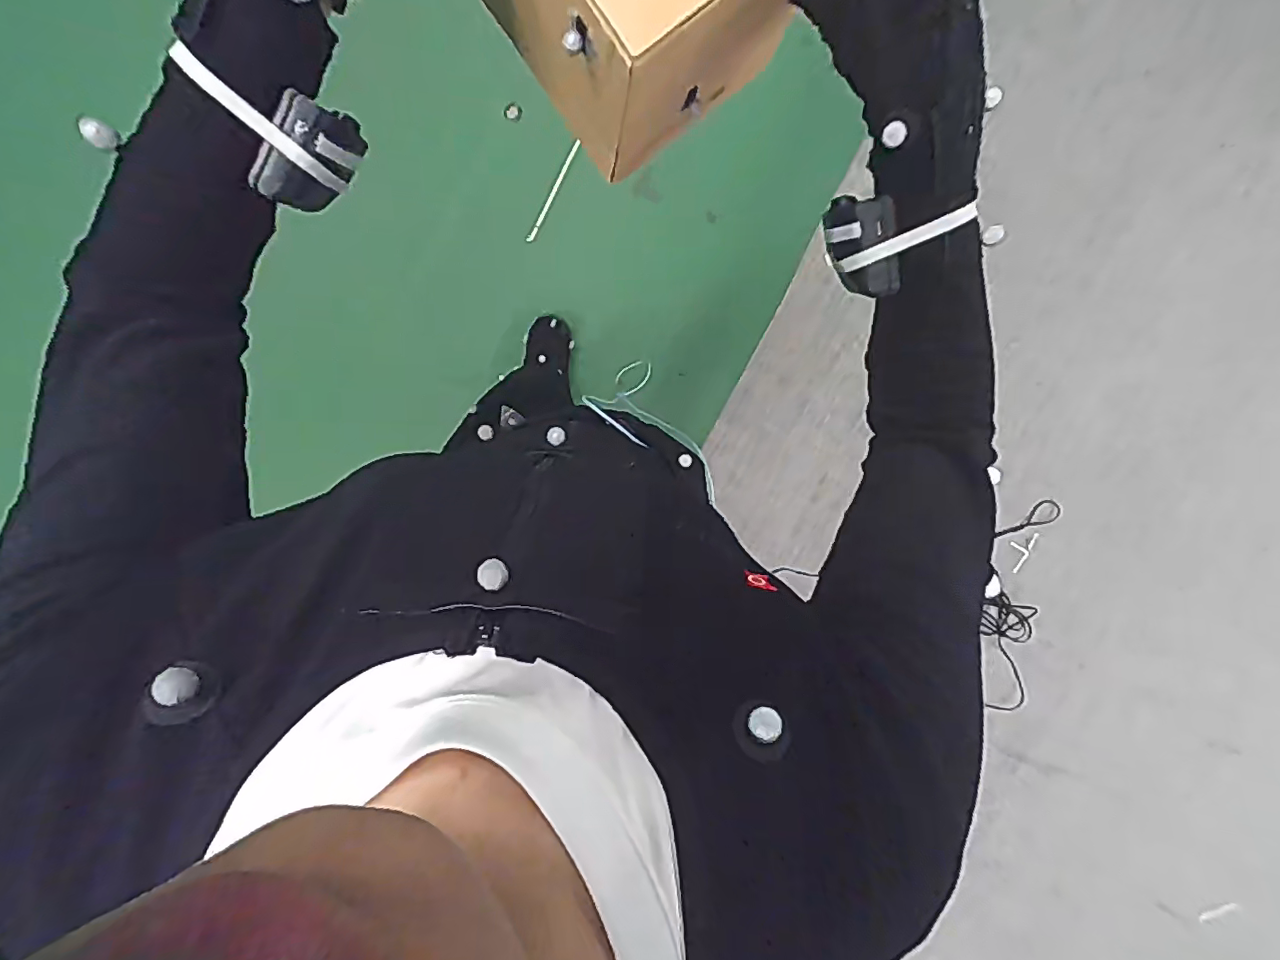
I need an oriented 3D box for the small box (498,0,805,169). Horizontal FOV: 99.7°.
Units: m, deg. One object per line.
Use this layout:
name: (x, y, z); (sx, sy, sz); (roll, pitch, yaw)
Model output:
small box: (0.003, -0.356, 0.358); (0.168, 0.176, 0.179); (-37, 102, -1)
